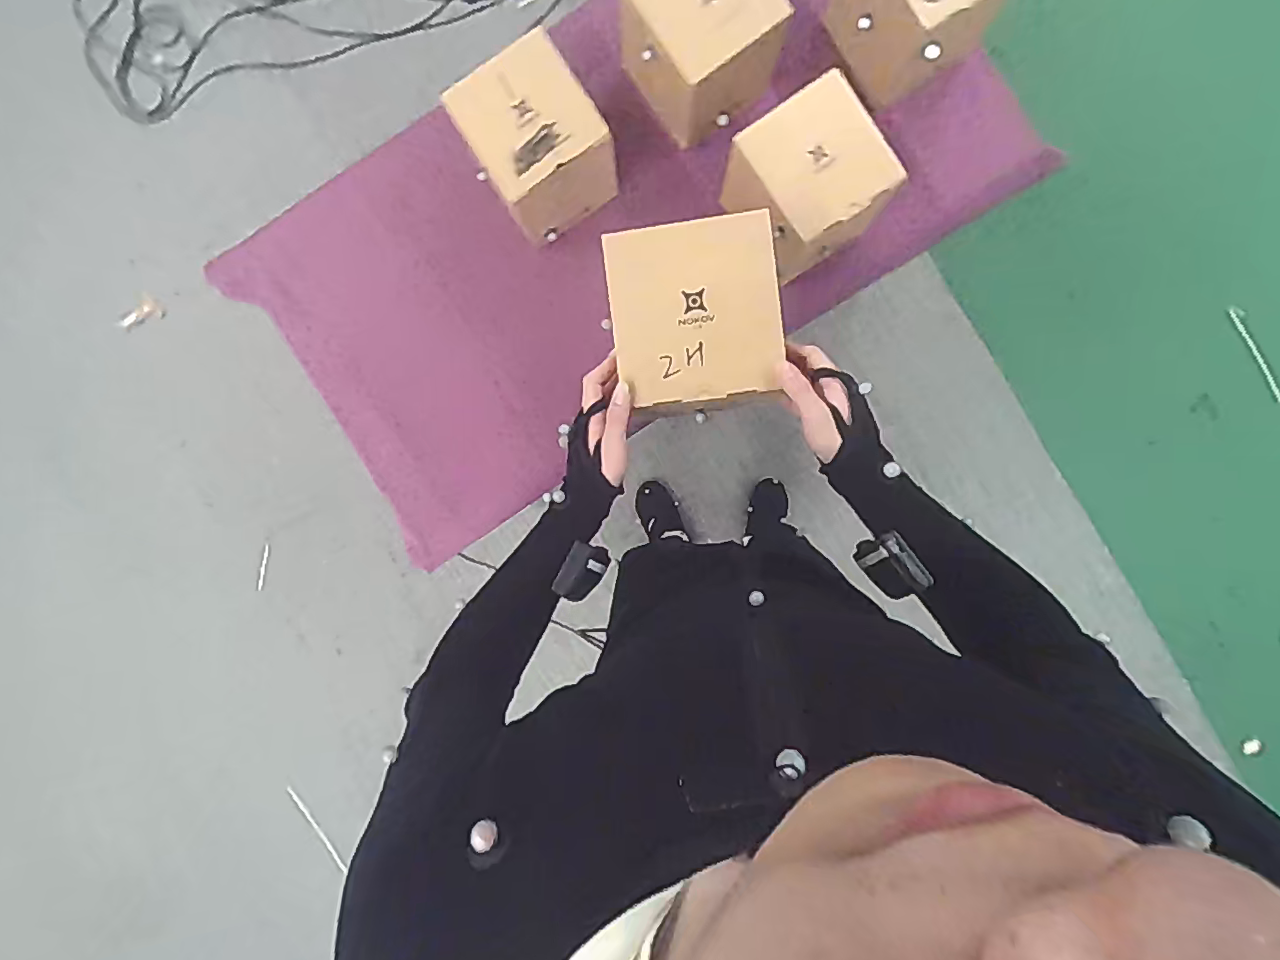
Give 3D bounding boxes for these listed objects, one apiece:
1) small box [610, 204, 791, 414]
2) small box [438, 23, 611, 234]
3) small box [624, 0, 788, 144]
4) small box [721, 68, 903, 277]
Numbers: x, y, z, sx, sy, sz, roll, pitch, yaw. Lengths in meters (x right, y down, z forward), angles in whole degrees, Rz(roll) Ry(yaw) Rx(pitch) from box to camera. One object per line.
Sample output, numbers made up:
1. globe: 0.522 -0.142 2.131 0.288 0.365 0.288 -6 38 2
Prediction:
1. small box: 0.063 -0.173 0.600 0.168 0.176 0.179 -5 93 5
2. small box: -0.156 -0.496 0.803 0.168 0.176 0.179 -34 91 2
3. small box: 0.084 -0.650 0.795 0.168 0.176 0.179 -34 92 3
4. small box: 0.238 -0.436 0.799 0.168 0.176 0.179 -34 91 2
